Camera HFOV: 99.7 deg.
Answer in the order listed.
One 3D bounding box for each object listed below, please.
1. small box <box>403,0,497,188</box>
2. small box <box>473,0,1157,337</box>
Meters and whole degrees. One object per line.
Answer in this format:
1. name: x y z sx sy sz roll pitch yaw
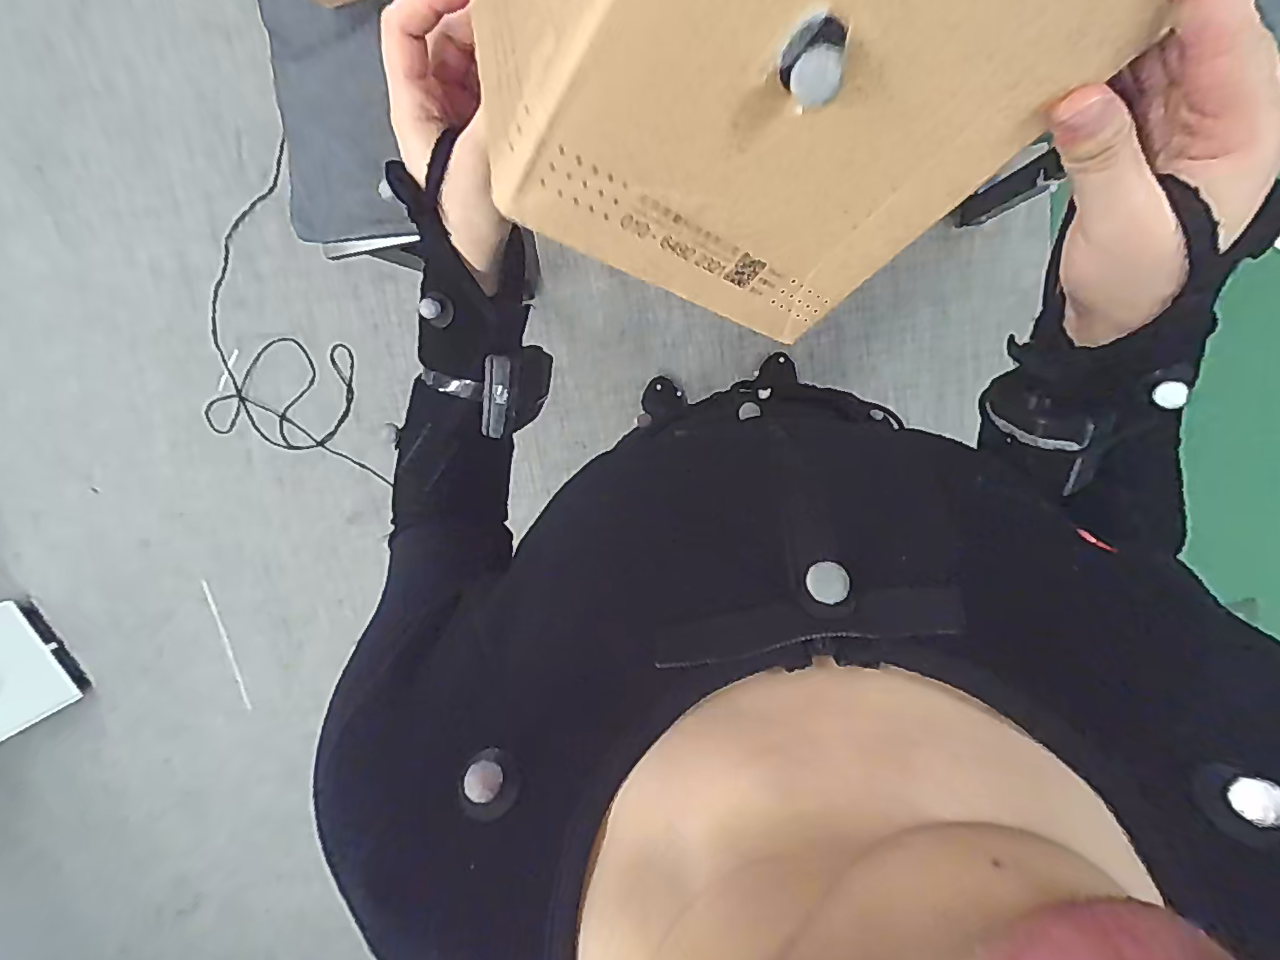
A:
1. small box: -0.131 -0.446 0.598 0.179 0.176 0.168 -4 101 8
2. small box: 0.042 -0.189 0.223 0.176 0.168 0.179 -40 53 43
